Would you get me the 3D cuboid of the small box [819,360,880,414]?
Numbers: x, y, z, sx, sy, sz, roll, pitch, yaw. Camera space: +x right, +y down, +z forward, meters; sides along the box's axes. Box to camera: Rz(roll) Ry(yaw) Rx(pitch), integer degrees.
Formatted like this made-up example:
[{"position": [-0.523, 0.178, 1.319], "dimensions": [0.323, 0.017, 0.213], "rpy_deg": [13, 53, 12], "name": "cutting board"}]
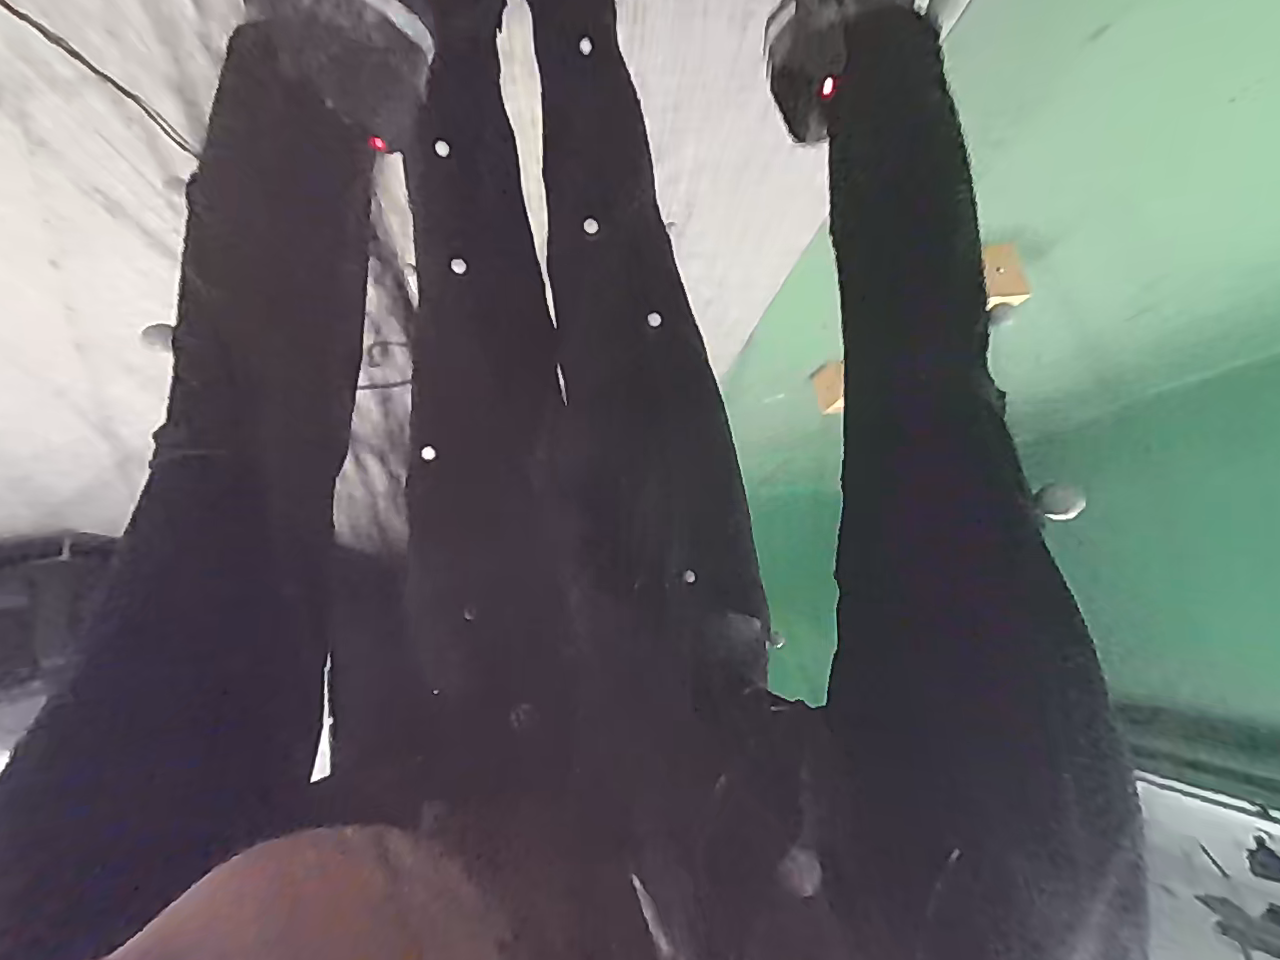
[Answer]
[{"position": [0.872, -0.389, 2.269], "dimensions": [0.168, 0.176, 0.179], "rpy_deg": [-7, 167, -10], "name": "small box"}]
